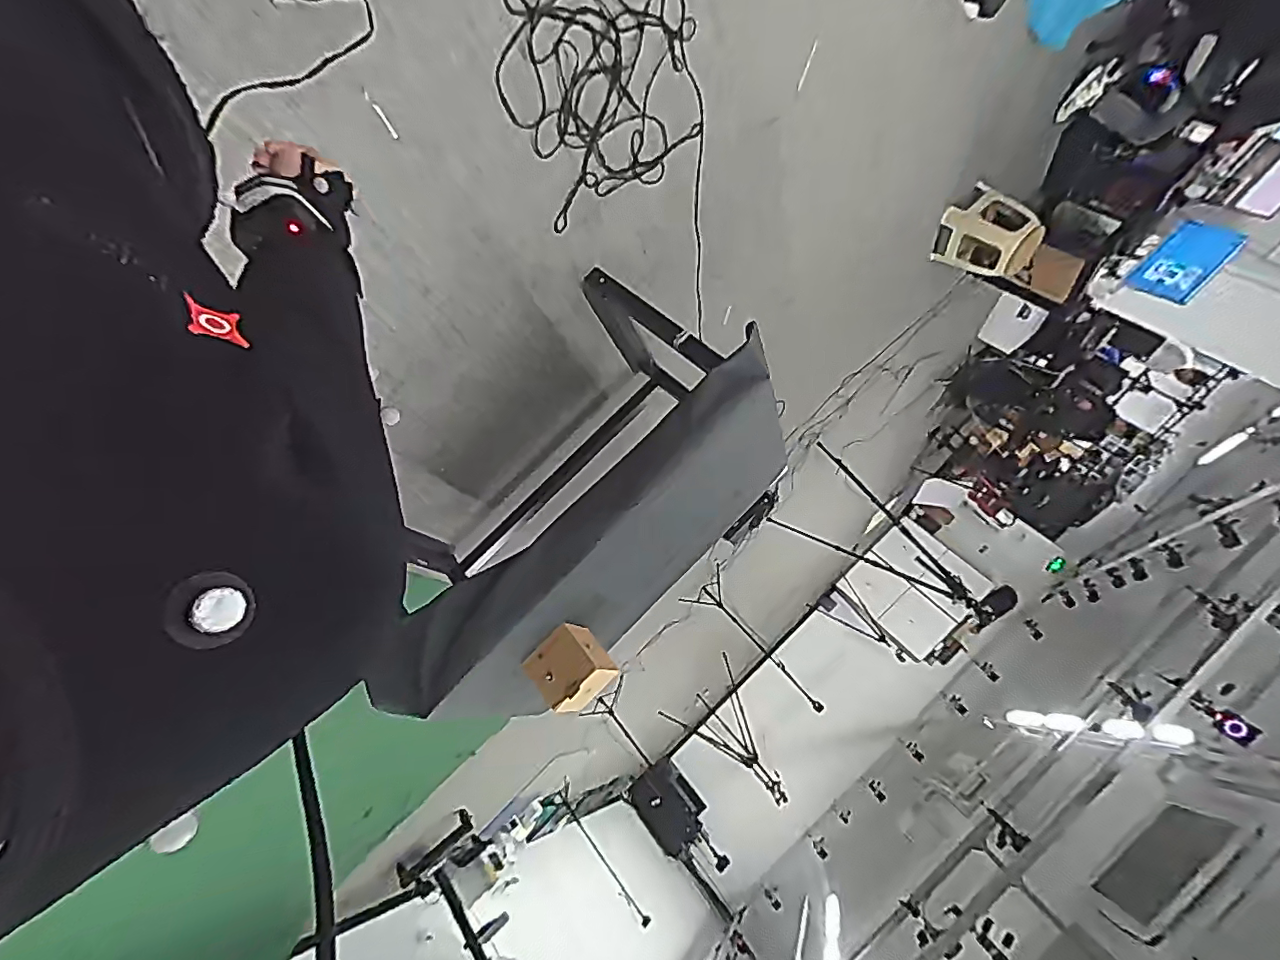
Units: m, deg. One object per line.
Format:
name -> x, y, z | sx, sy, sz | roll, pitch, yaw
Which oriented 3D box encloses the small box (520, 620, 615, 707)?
small box -> -0.207, 0.516, 1.529 | 0.168, 0.176, 0.179 | -44, 154, 0
